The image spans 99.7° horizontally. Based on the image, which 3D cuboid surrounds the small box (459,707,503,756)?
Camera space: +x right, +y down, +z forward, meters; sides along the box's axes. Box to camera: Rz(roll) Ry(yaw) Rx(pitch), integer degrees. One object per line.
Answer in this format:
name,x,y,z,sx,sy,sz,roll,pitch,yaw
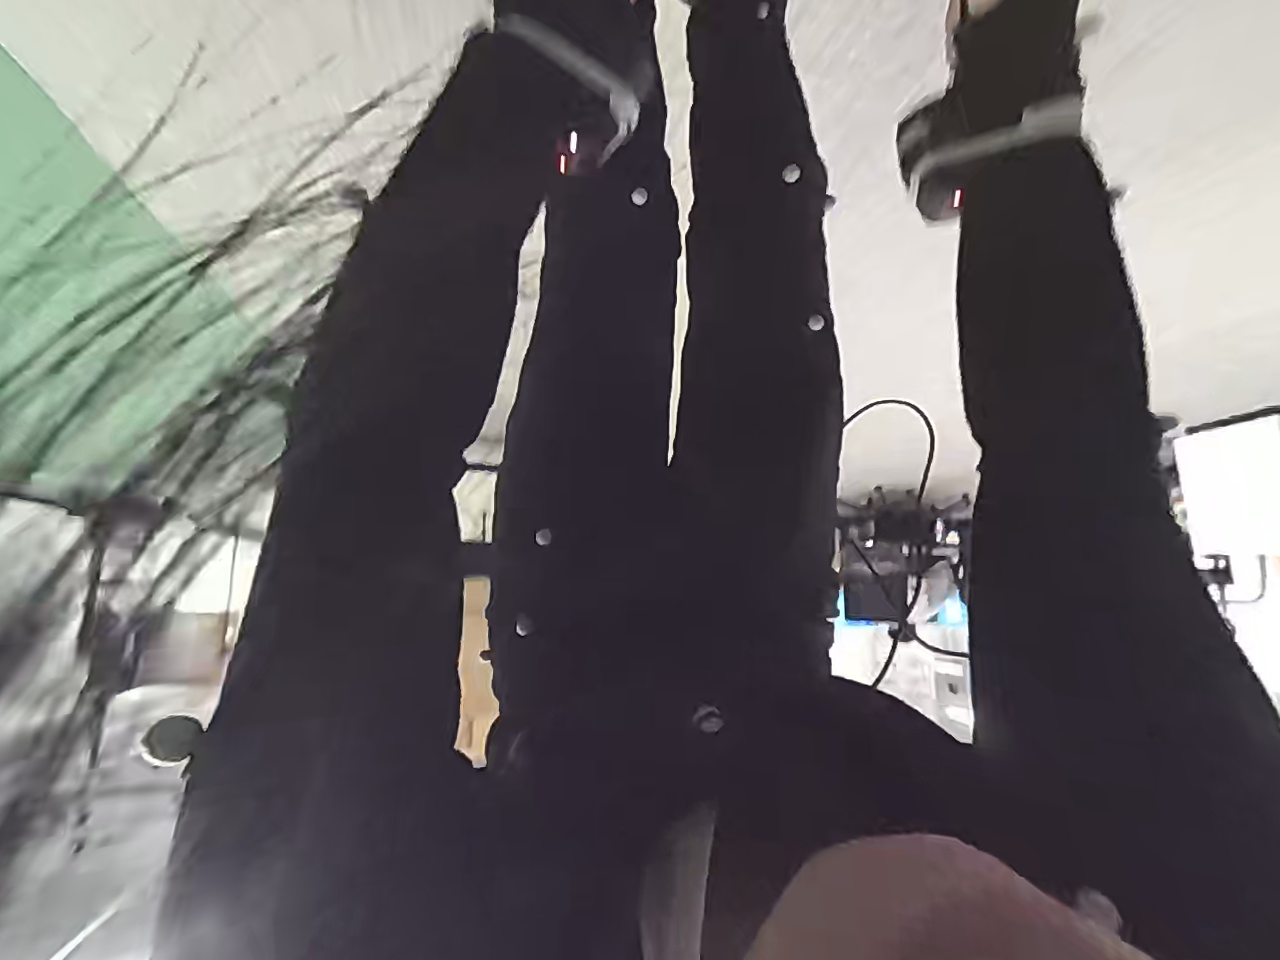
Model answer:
small box,-0.737,1.164,2.517,0.168,0.176,0.179,5,166,-27
